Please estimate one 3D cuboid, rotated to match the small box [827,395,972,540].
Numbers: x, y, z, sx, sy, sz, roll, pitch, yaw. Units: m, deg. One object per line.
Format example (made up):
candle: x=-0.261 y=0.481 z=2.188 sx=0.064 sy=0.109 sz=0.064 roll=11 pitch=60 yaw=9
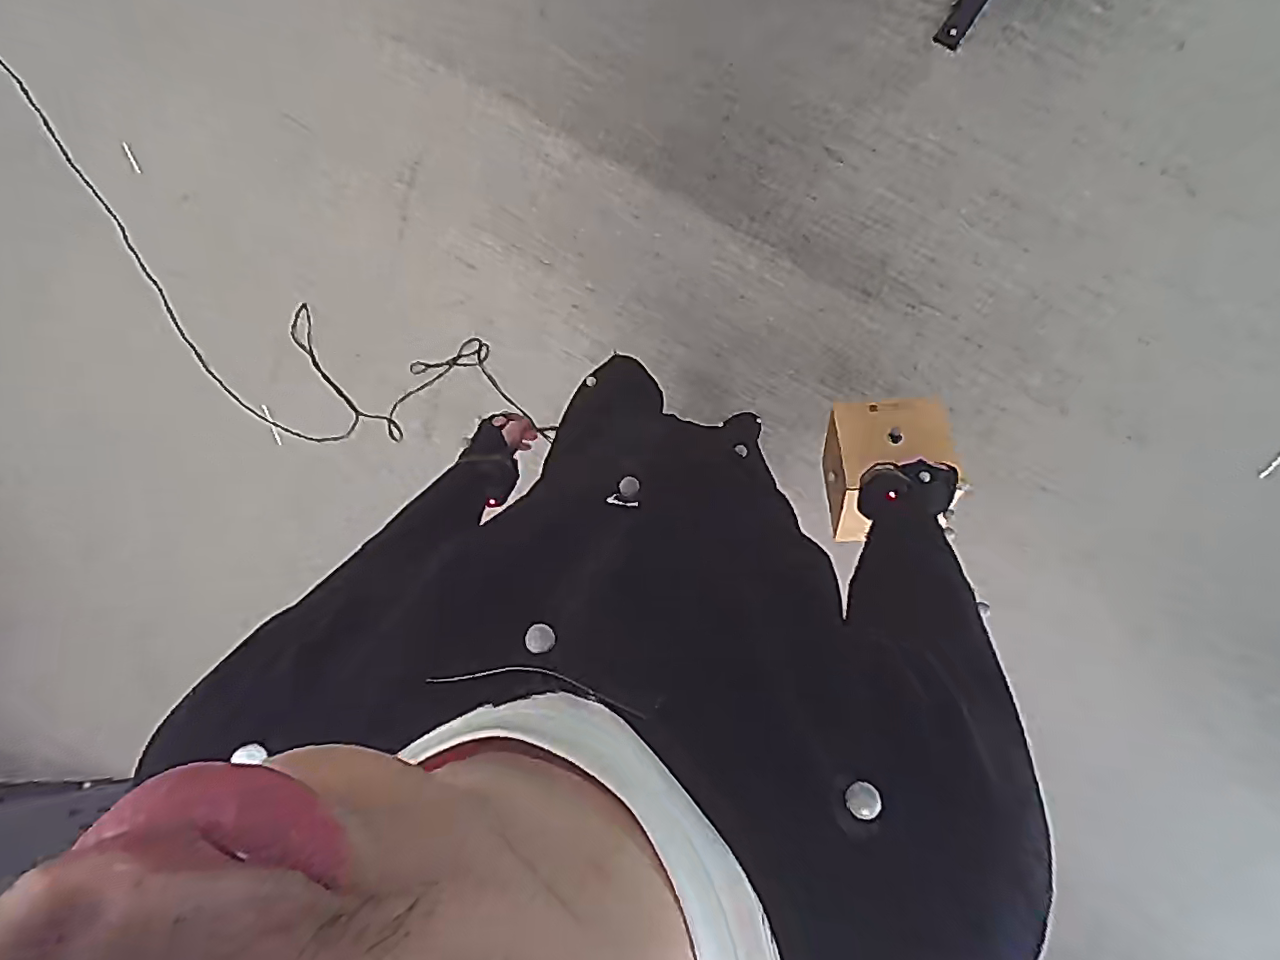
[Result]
small box: x=0.407 y=-0.023 z=0.882 sx=0.168 sy=0.179 sz=0.176 roll=-8 pitch=56 yaw=13
